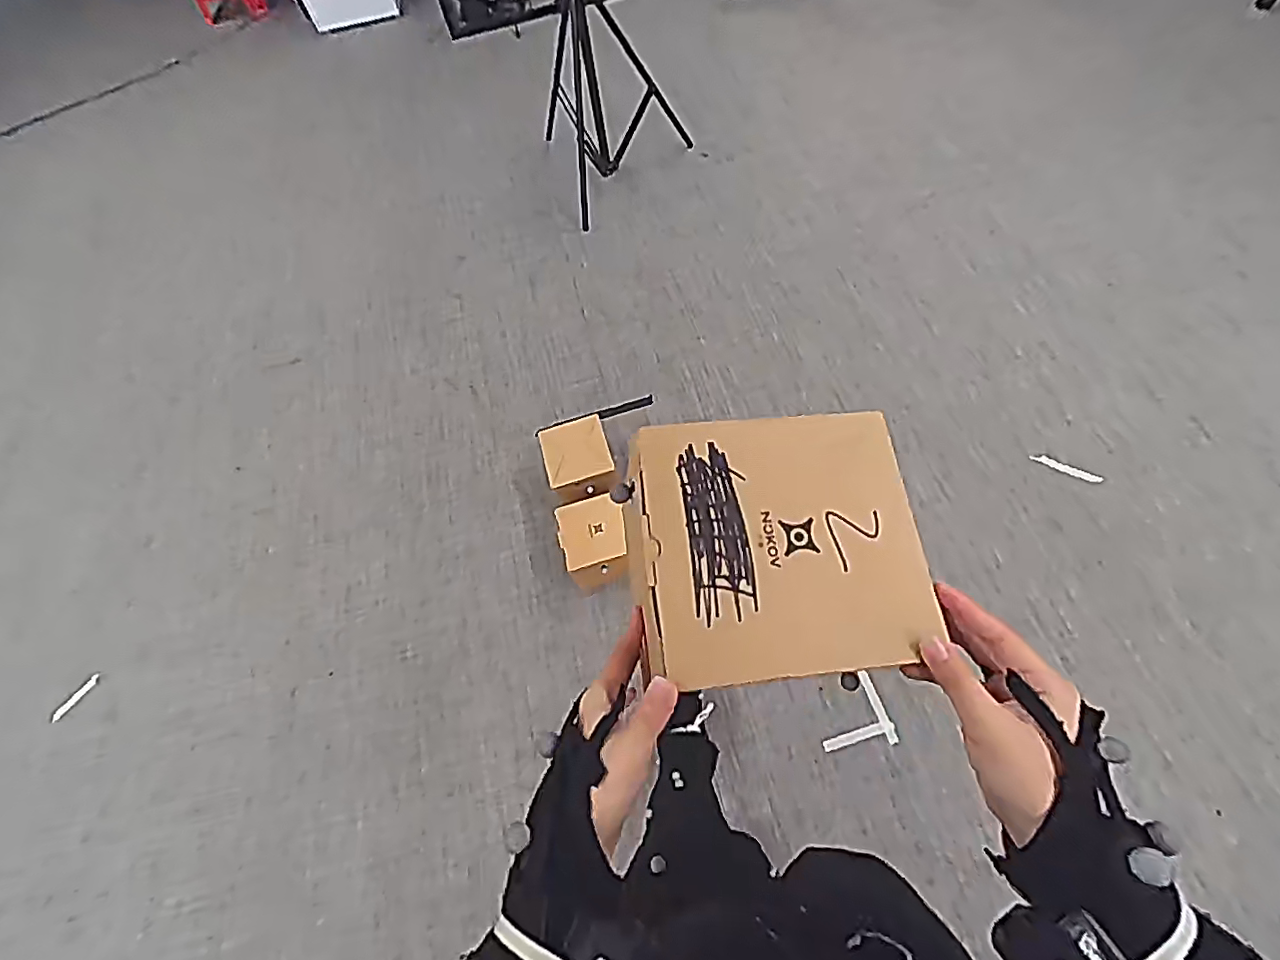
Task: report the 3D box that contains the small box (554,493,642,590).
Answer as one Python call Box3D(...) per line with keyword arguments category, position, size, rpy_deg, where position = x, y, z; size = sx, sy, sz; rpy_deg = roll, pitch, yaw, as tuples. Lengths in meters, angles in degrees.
Box3D(category="small box", position=(-0.097, 0.158, 1.345), size=(0.179, 0.176, 0.168), rpy_deg=(-17, 63, -1))

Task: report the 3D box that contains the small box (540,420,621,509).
Box3D(category="small box", position=(-0.159, -0.034, 1.443), size=(0.168, 0.176, 0.179), rpy_deg=(-18, 63, -2))
